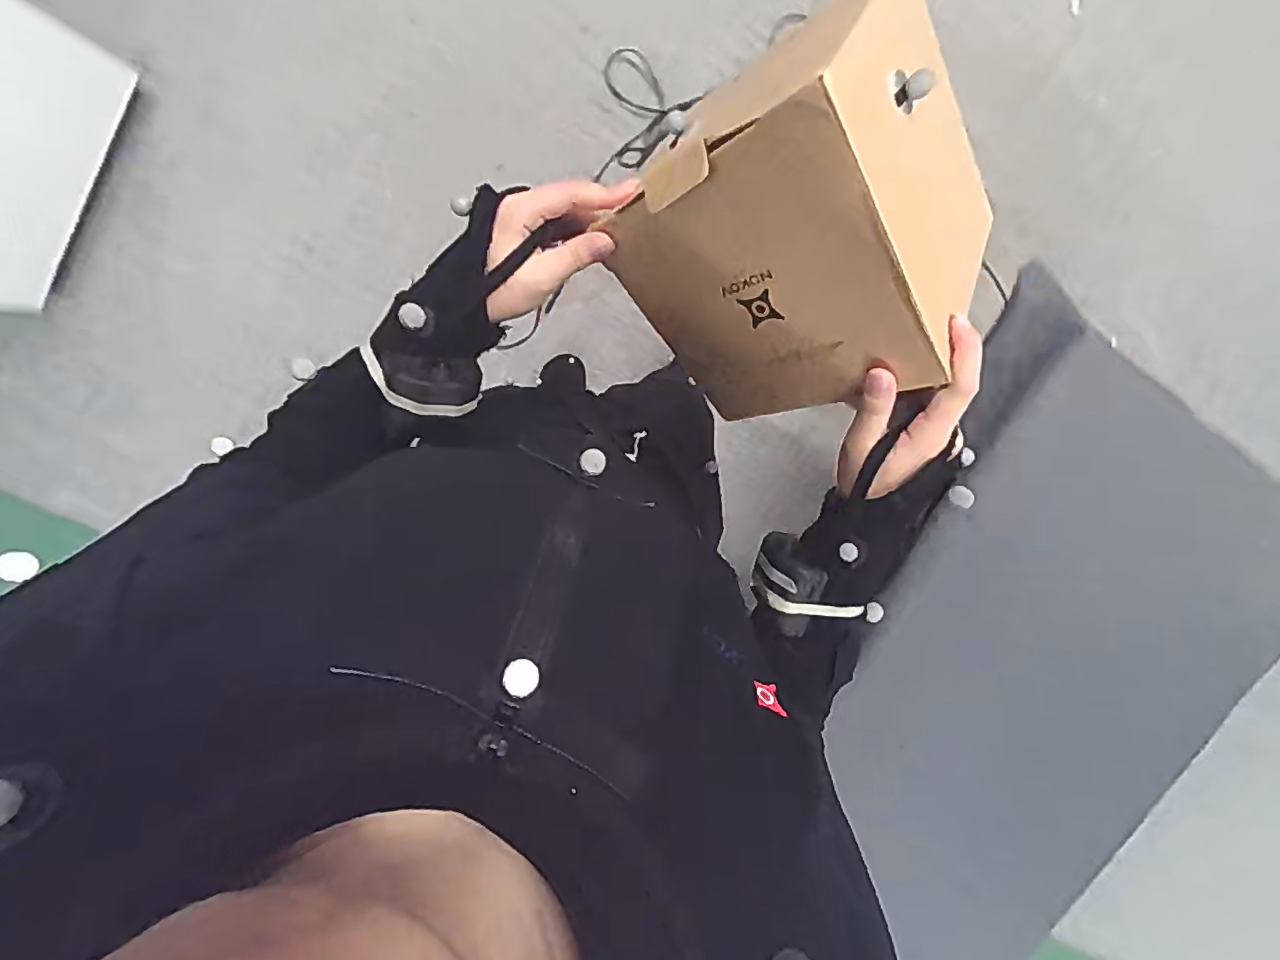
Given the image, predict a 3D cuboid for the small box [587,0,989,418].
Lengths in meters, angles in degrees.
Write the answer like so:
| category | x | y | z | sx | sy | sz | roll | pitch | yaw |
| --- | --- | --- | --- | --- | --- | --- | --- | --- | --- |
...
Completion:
| category | x | y | z | sx | sy | sz | roll | pitch | yaw |
| --- | --- | --- | --- | --- | --- | --- | --- | --- | --- |
| small box | 0.105 | -0.170 | 0.357 | 0.179 | 0.168 | 0.176 | 43 | 60 | -29 |
